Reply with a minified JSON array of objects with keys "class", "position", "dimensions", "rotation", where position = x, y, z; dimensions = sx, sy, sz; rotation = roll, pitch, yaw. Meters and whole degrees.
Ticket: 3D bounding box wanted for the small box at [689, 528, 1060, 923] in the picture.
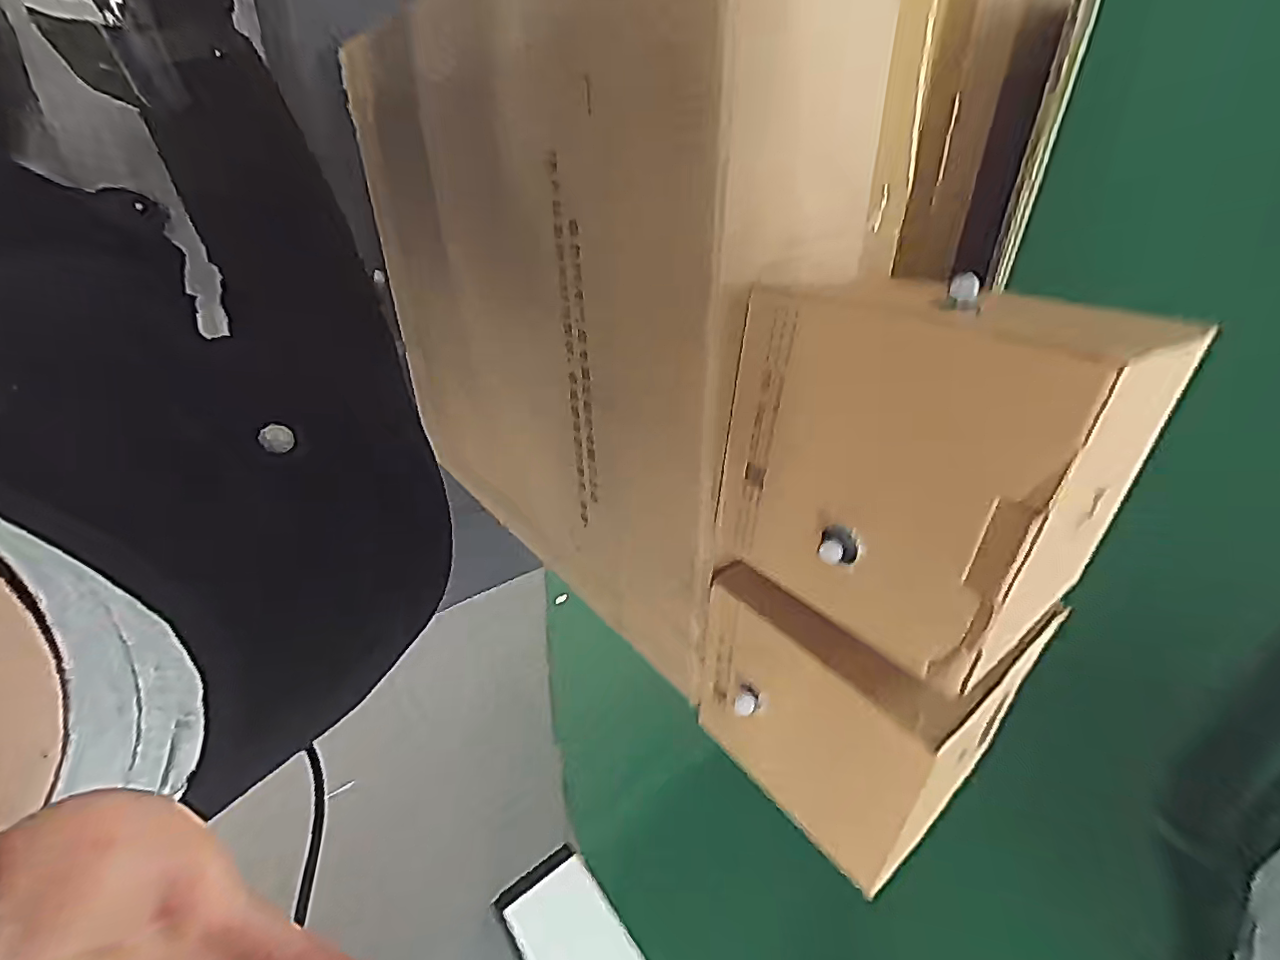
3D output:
[{"class":"small box","position":[0.160,0.161,0.410],"dimensions":[0.179,0.176,0.168],"rotation":[-21,127,-31]}]
